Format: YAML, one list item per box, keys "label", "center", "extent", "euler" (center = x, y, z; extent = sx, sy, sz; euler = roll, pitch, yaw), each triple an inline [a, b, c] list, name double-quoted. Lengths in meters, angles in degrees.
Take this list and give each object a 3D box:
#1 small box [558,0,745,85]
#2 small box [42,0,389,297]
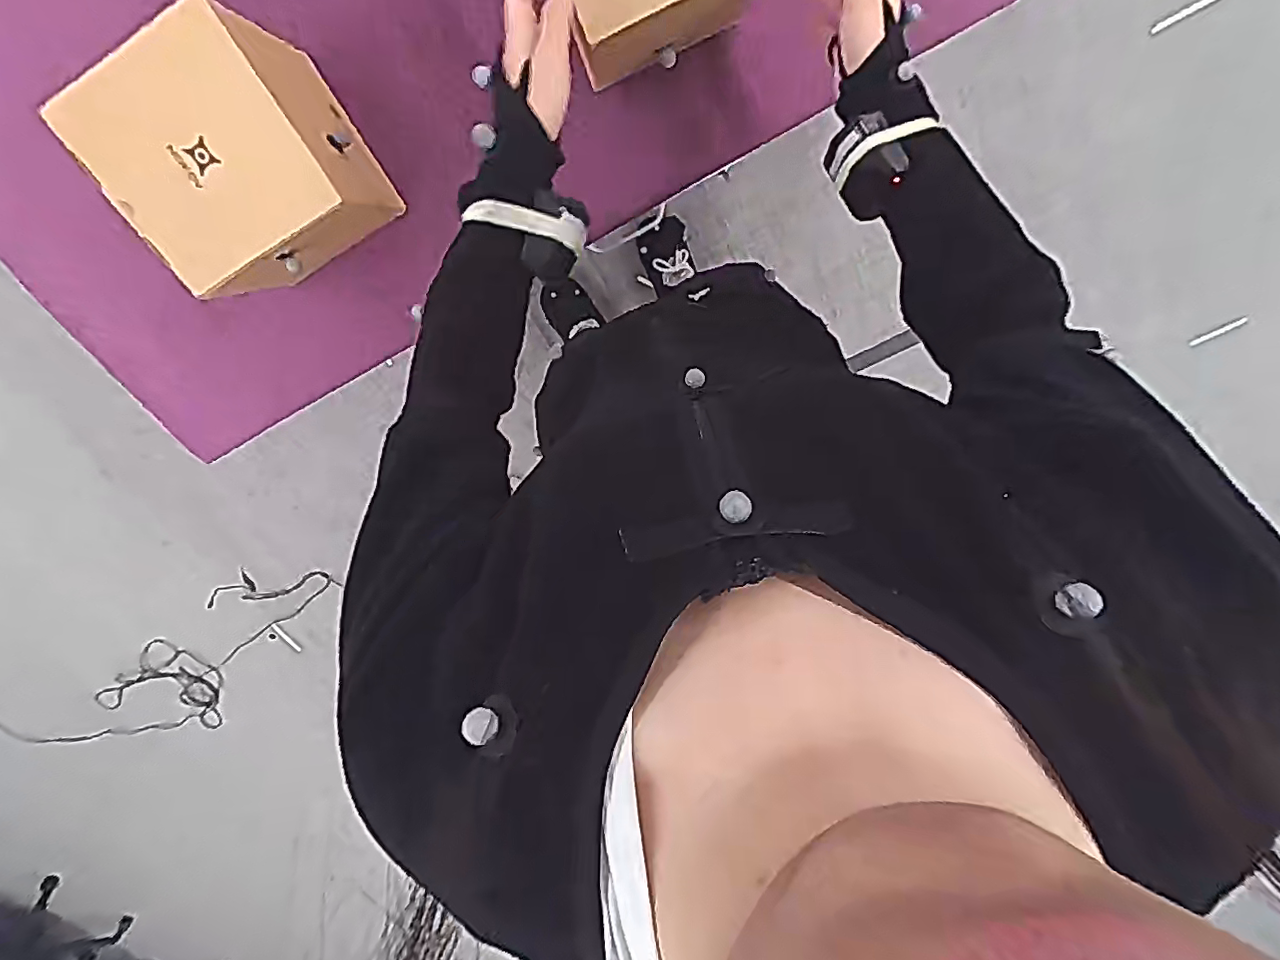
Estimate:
- label: "small box"
  center: [-0.006, -0.483, 0.462]
  extent: [0.168, 0.176, 0.179]
  euler: [-21, 115, 7]
- label: "small box"
  center: [-0.377, -0.305, 0.528]
  extent: [0.179, 0.176, 0.168]
  euler: [-27, 114, 10]
